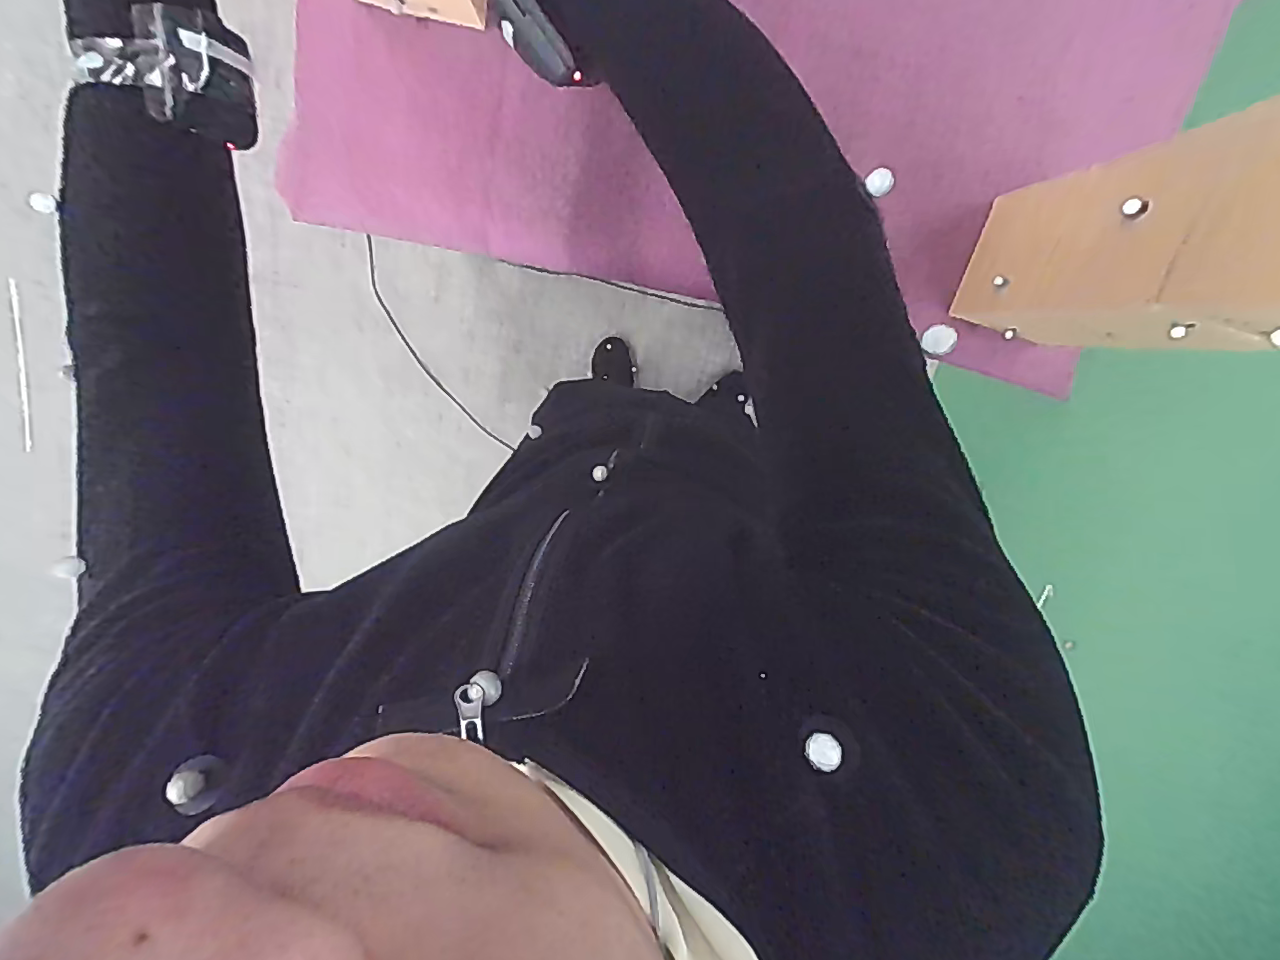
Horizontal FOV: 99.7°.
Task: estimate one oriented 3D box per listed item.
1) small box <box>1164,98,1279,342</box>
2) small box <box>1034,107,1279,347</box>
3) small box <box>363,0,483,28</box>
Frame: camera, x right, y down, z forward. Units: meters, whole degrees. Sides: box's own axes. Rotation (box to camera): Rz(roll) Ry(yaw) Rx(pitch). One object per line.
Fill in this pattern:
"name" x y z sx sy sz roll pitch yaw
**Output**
"small box" 0.592 -0.212 0.428 0.168 0.176 0.179 14 105 -5
"small box" 0.586 -0.253 0.588 0.168 0.176 0.179 15 104 -5
"small box" -0.270 -0.663 0.603 0.168 0.176 0.179 9 107 -5
